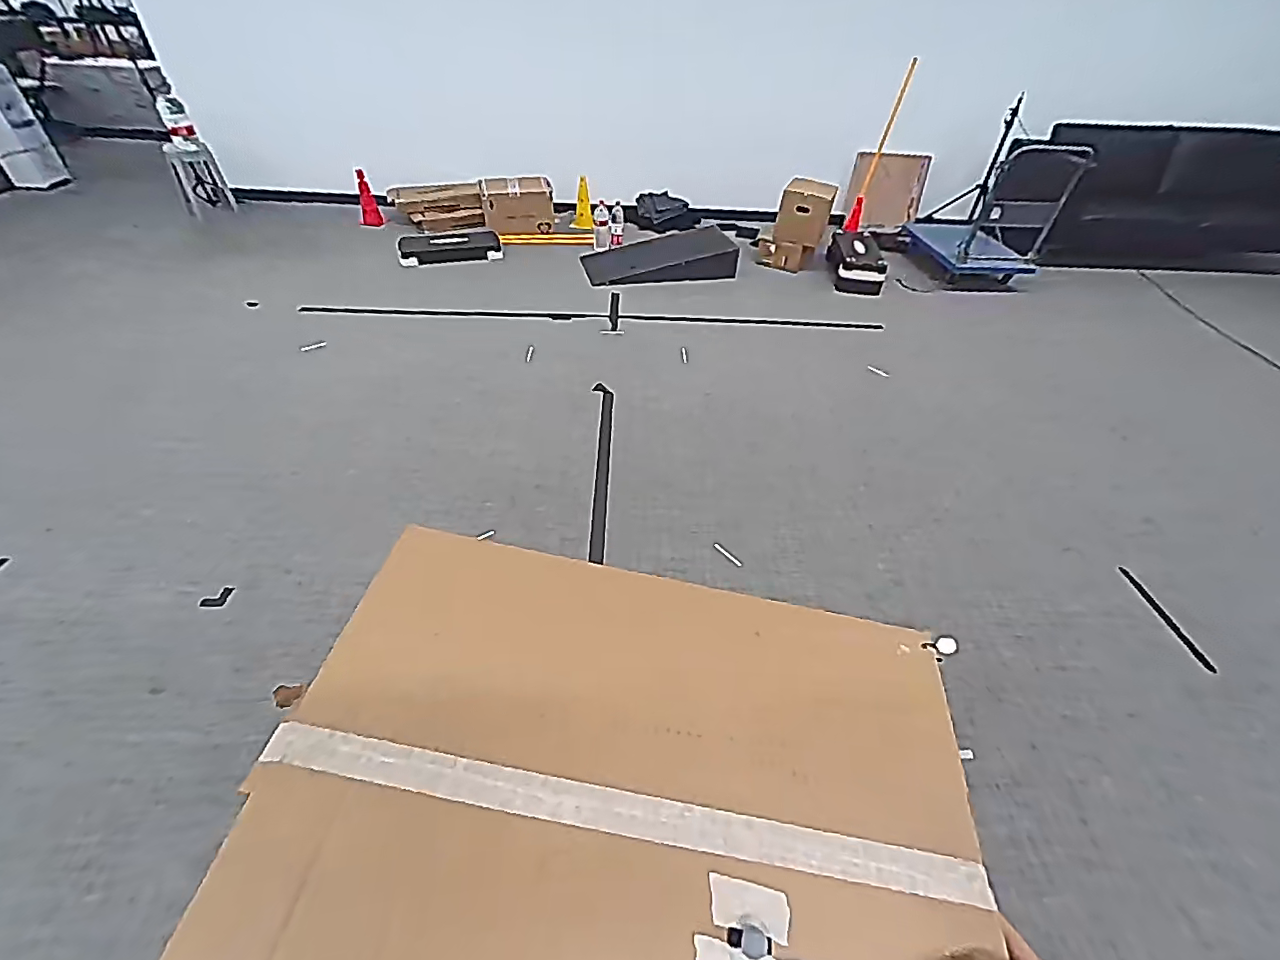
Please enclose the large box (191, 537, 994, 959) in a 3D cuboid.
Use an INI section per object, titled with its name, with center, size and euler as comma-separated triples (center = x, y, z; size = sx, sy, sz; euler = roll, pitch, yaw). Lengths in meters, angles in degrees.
[large box]
center = -0.021, 0.289, 0.424
size = 0.408, 0.320, 0.320
euler = 13, 49, 0
